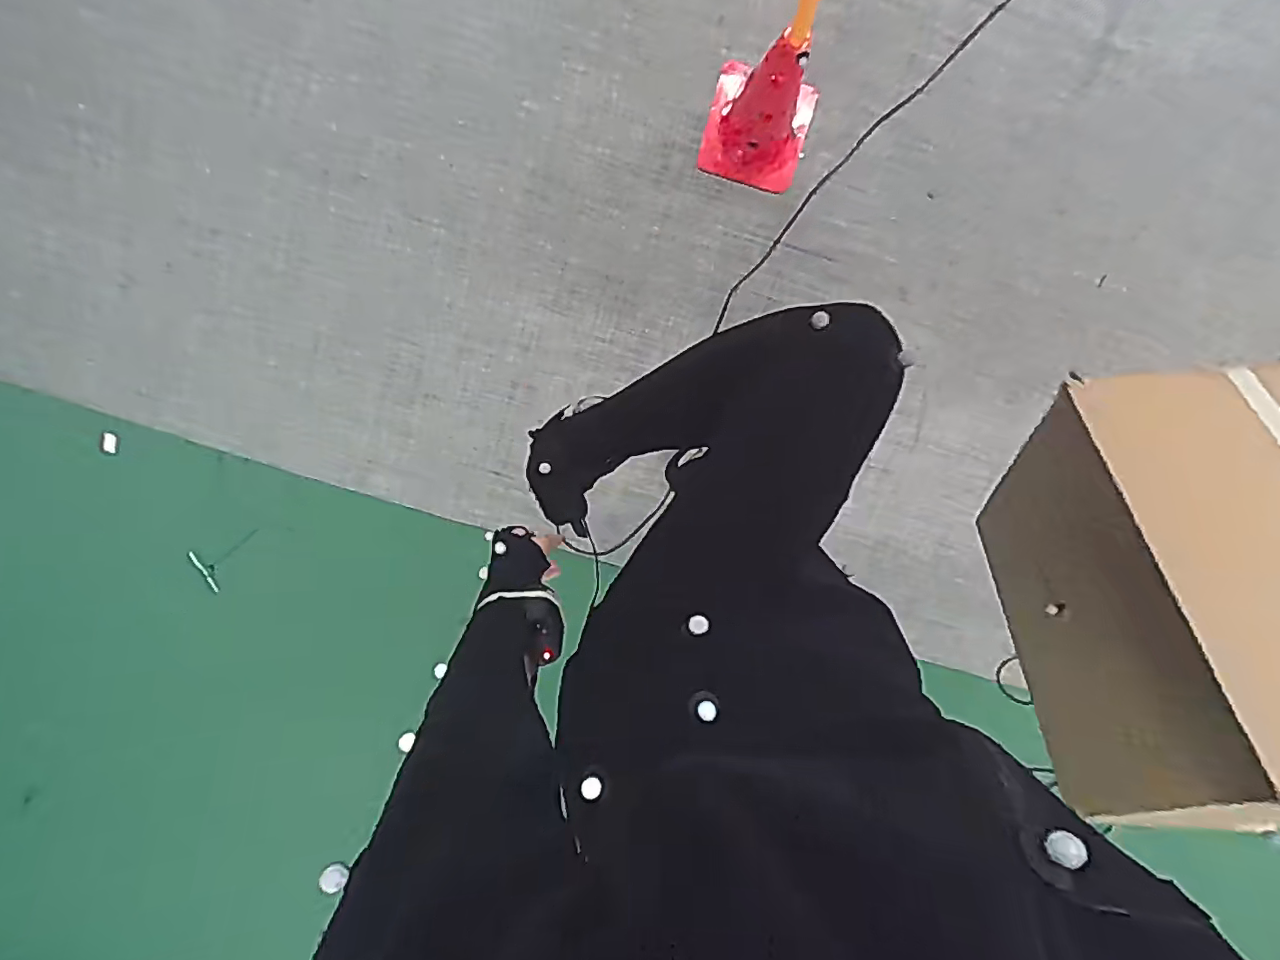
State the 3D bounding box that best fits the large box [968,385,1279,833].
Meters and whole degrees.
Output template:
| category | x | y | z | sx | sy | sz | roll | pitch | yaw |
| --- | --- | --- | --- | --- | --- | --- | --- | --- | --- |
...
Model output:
| category | x | y | z | sx | sy | sz | roll | pitch | yaw |
| --- | --- | --- | --- | --- | --- | --- | --- | --- | --- |
| large box | 0.628 | 0.150 | 0.602 | 0.320 | 0.408 | 0.320 | -1 | 145 | 9 |
